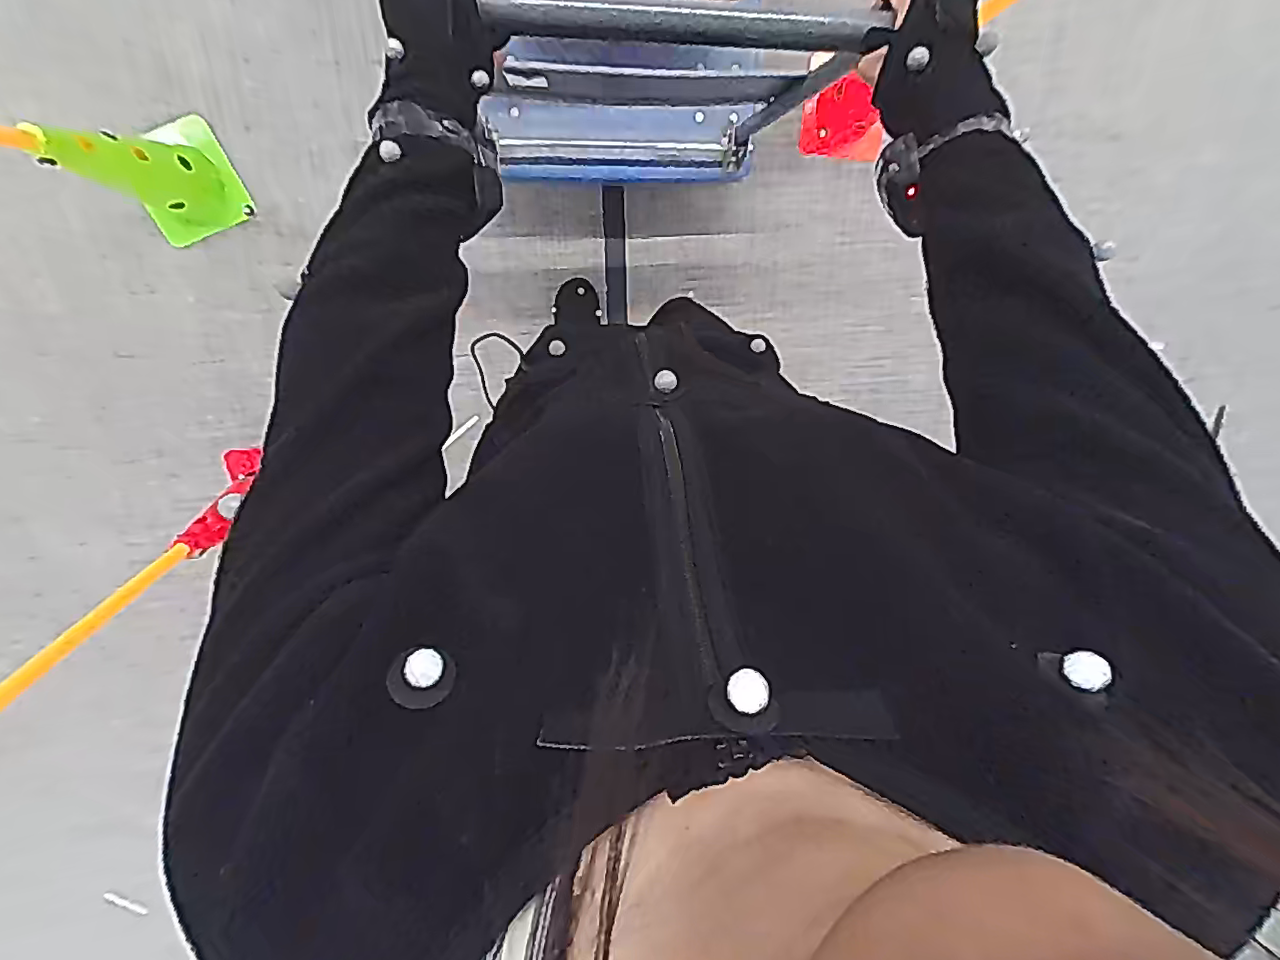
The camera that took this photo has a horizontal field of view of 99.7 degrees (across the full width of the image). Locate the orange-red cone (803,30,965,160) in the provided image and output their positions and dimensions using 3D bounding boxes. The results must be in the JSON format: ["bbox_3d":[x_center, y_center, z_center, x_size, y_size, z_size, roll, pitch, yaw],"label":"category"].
[{"bbox_3d":[0.502,-0.789,1.065,0.199,0.360,0.198,1,109,-10],"label":"orange-red cone"}]
